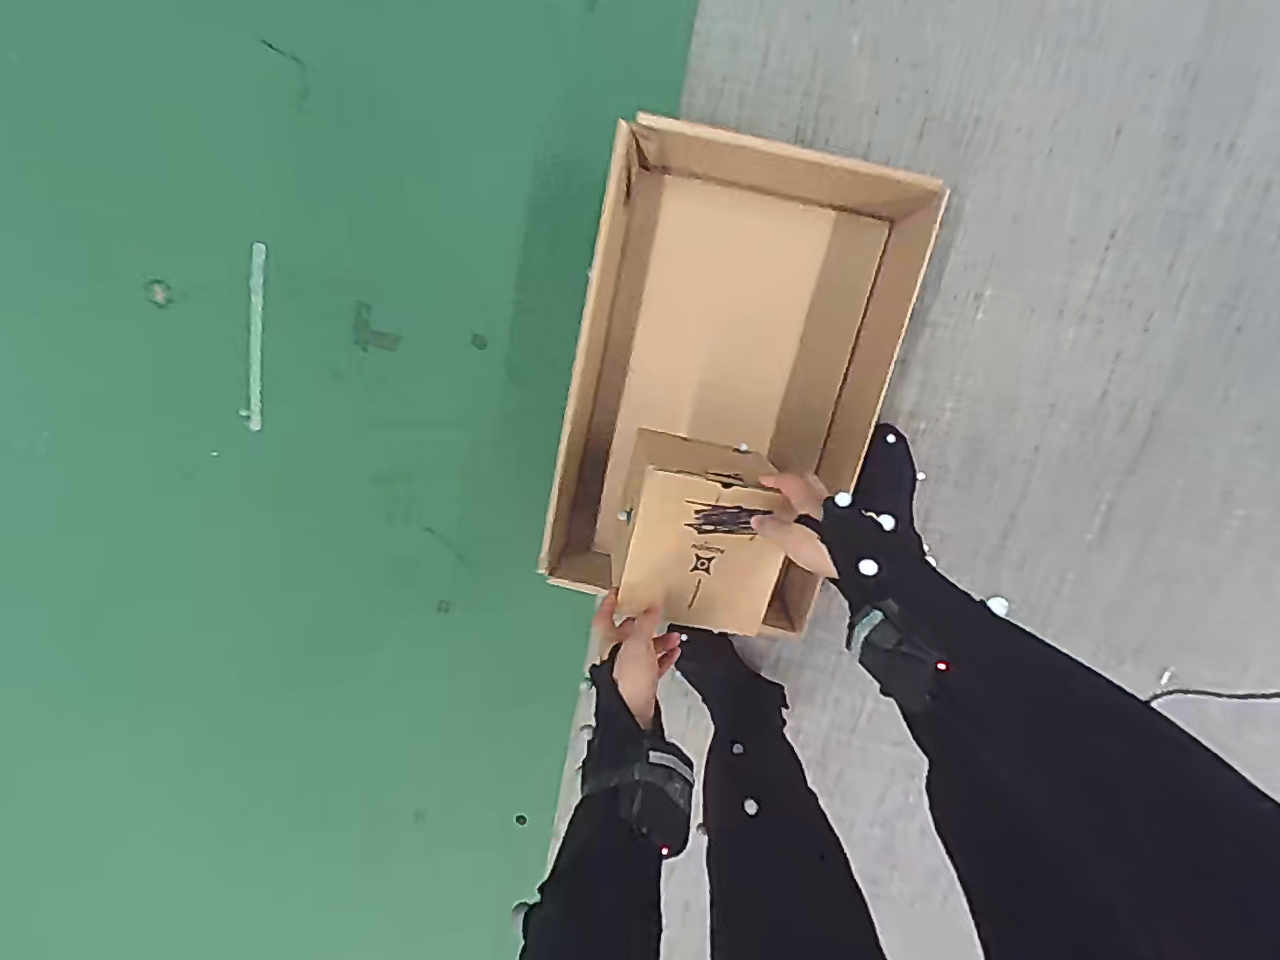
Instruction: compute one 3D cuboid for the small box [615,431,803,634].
[{"bbox_3d":[0.065,0.052,0.641,0.168,0.176,0.179,10,108,-7],"label":"small box"}]
